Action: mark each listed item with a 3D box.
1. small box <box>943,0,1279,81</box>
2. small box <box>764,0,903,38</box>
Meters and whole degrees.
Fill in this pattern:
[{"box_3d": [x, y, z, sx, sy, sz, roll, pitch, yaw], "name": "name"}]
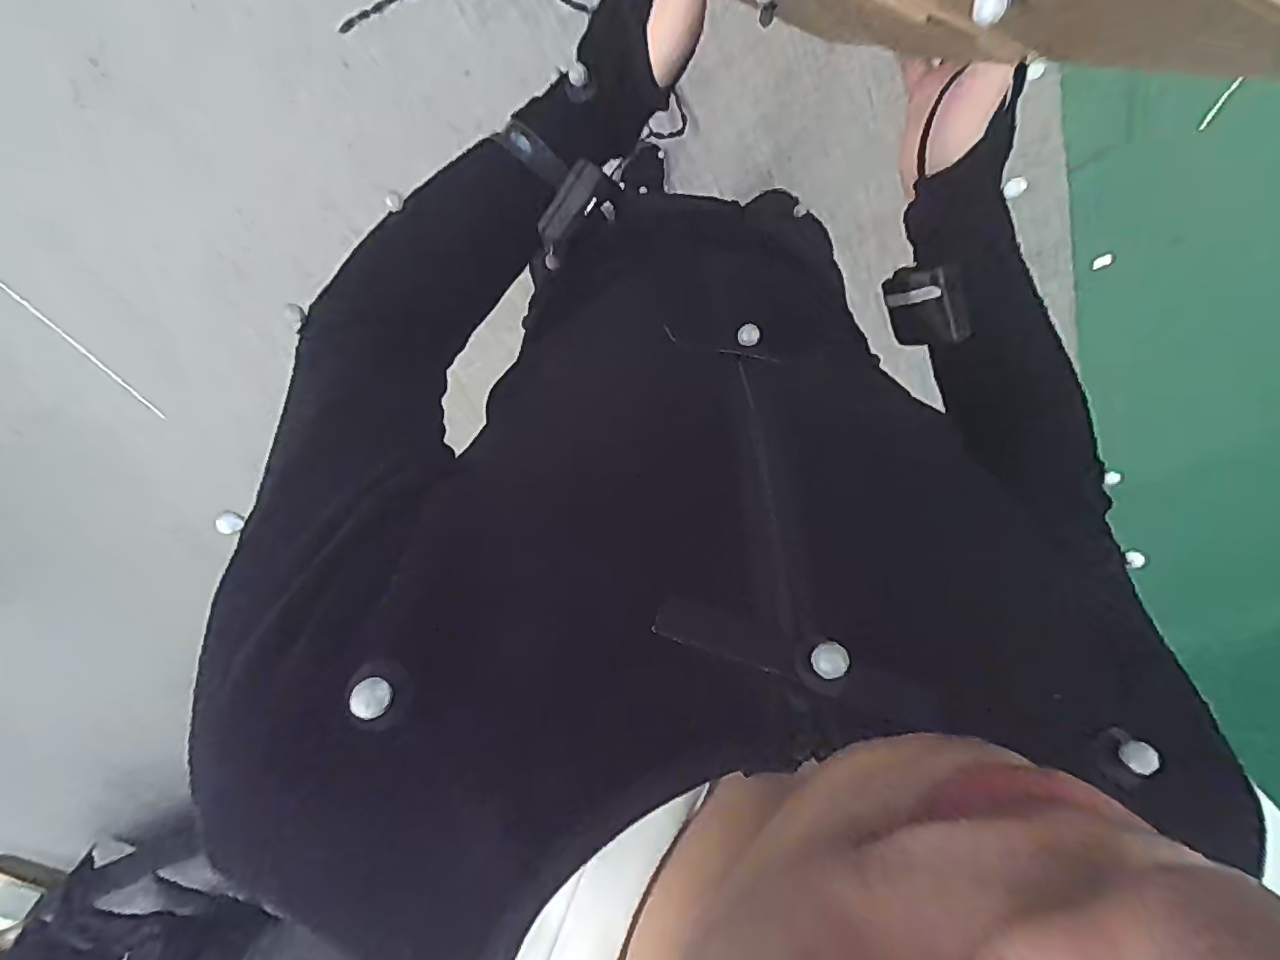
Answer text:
[{"box_3d": [0.147, -0.235, 0.134, 0.179, 0.176, 0.168, 15, 129, -14], "name": "small box"}, {"box_3d": [0.128, -0.453, 0.380, 0.168, 0.176, 0.179, 14, 128, -15], "name": "small box"}]
